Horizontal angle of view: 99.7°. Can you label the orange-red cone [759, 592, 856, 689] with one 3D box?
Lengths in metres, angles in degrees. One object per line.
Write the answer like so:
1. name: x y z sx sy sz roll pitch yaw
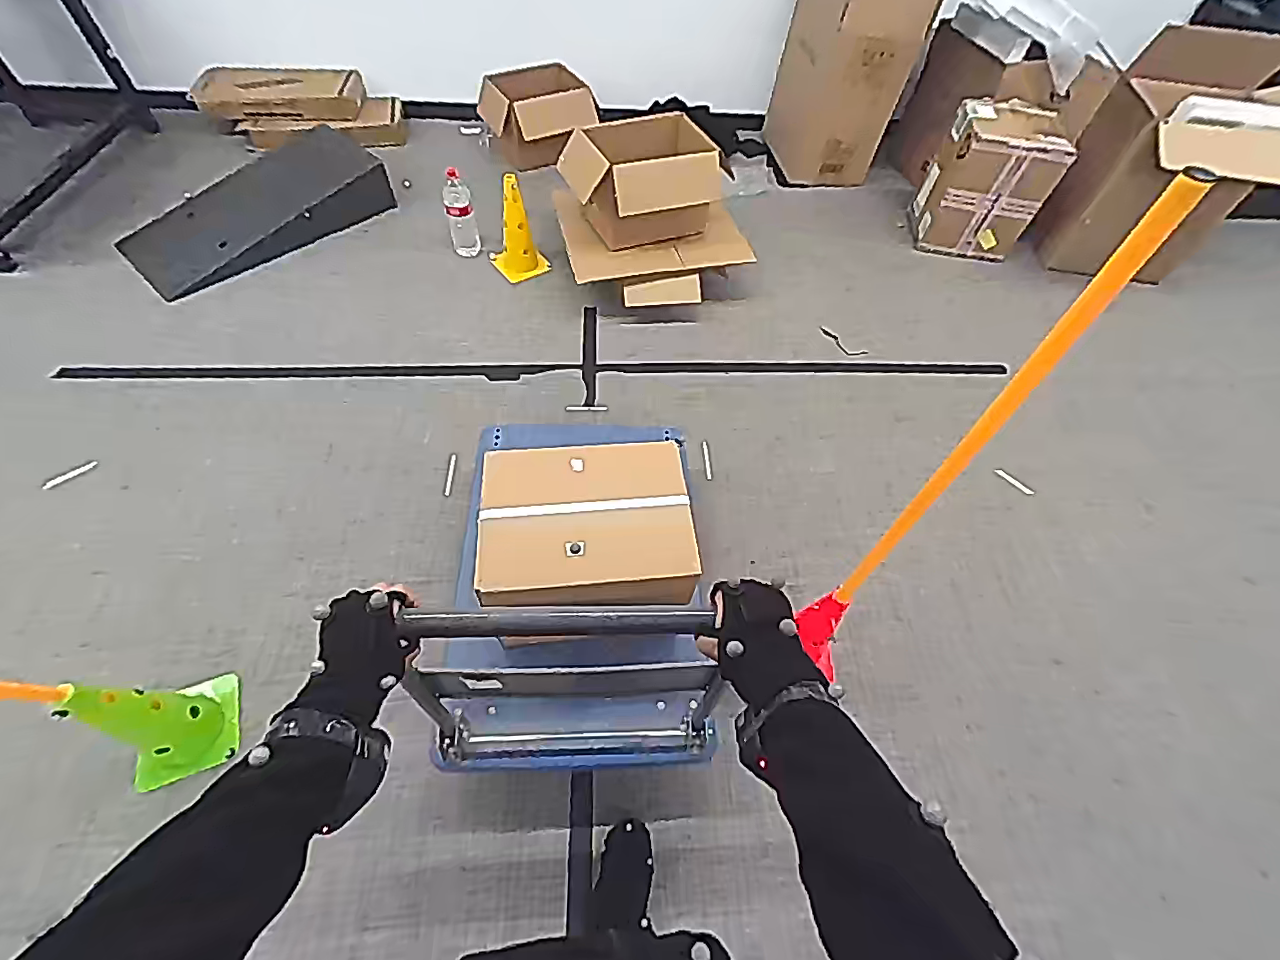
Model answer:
1. orange-red cone: 0.420 0.343 1.265 0.199 0.360 0.198 5 56 -2
